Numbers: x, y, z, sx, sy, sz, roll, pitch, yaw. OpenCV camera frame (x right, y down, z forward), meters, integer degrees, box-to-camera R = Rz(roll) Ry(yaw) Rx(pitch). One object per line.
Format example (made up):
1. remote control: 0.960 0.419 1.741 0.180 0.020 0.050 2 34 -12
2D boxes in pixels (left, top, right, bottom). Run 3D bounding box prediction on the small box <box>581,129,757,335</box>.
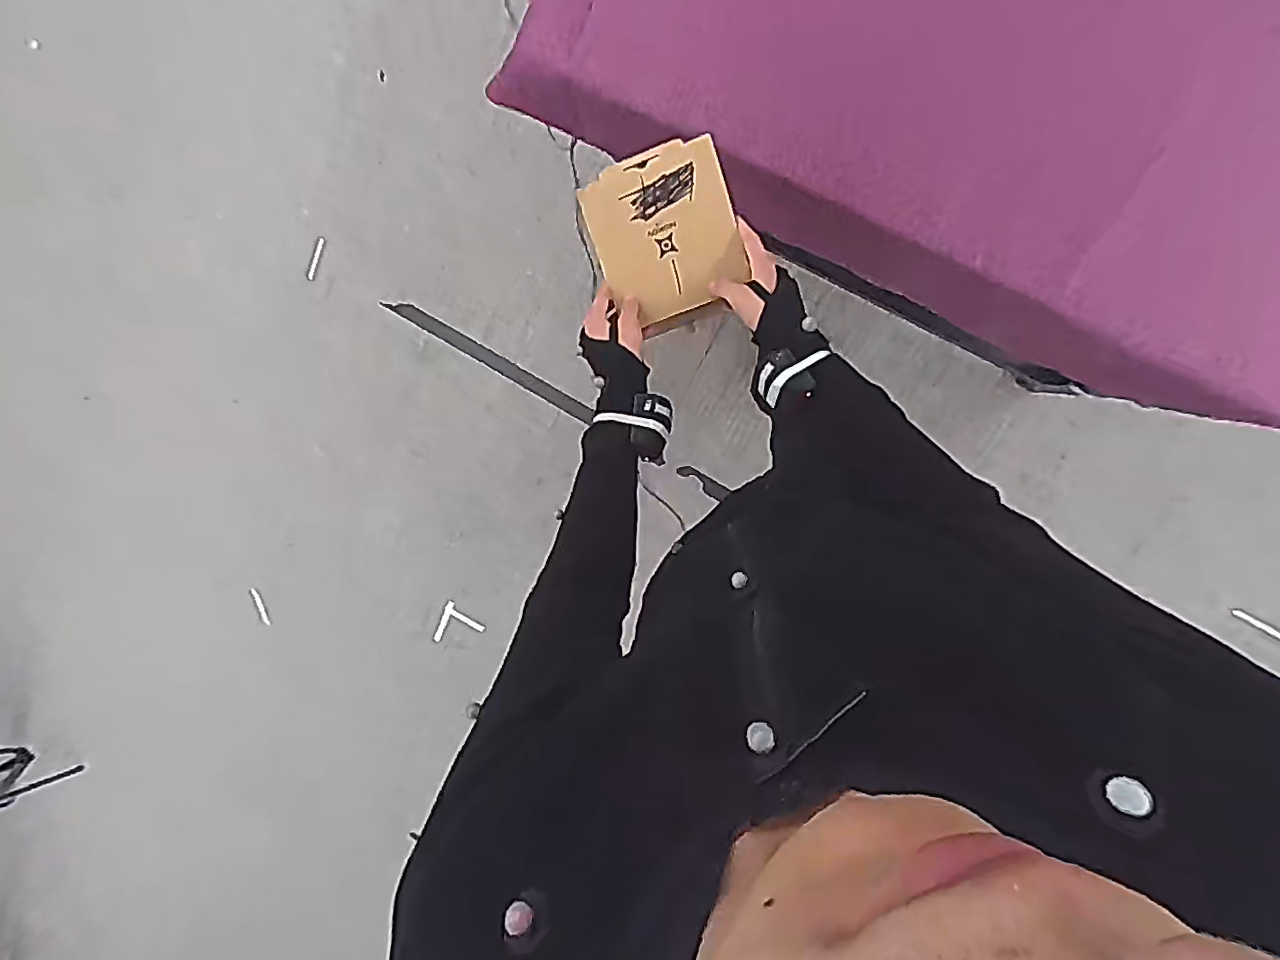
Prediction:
1. small box: 0.042 -0.300 0.698 0.168 0.176 0.179 -17 99 11
